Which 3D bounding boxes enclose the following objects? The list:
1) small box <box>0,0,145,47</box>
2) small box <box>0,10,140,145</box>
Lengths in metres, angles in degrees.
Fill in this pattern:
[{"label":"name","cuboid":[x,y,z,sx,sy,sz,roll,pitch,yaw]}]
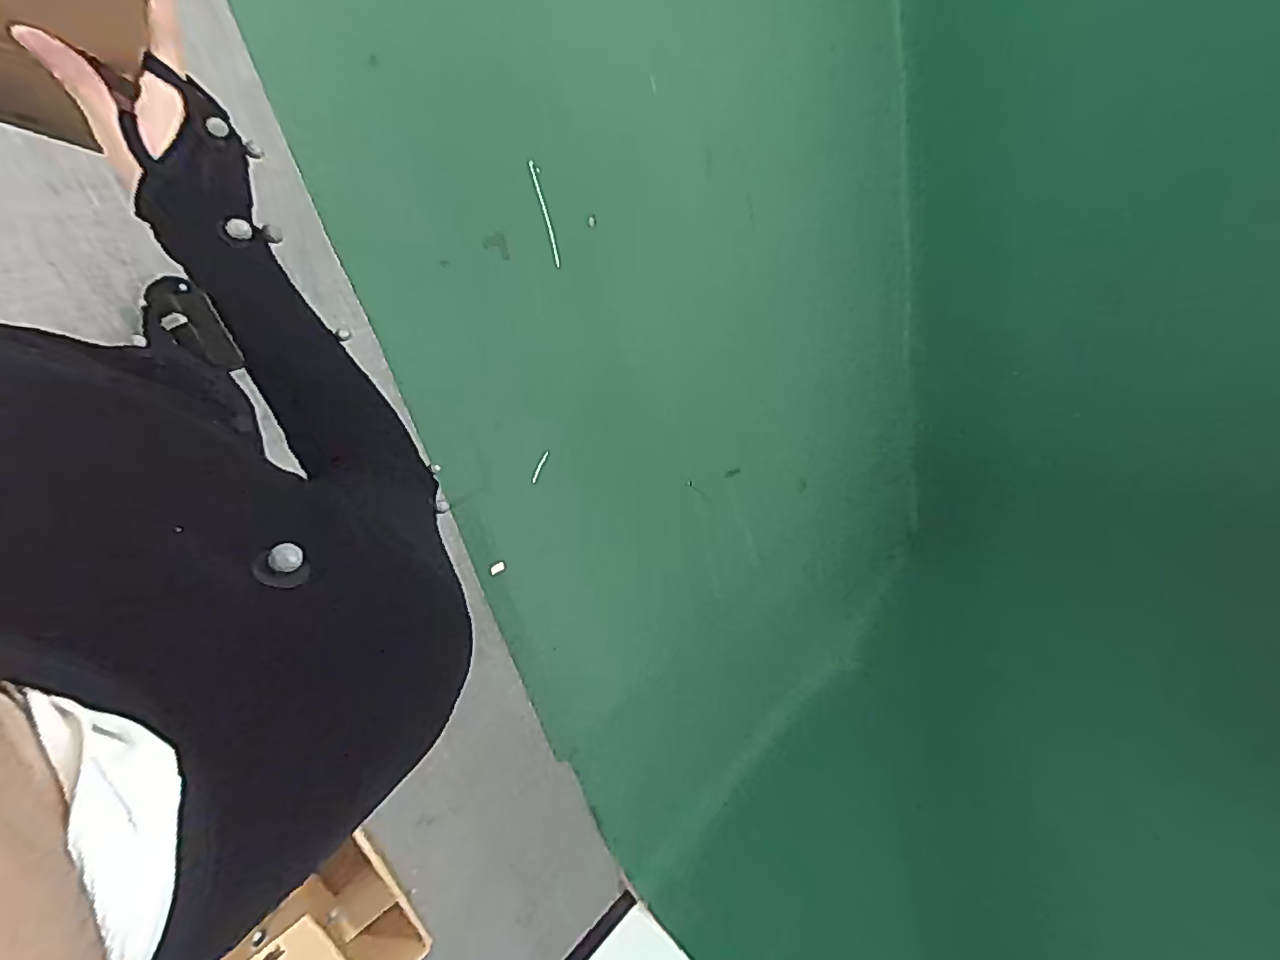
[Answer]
[{"label":"small box","cuboid":[-0.348,-0.360,0.253,0.179,0.176,0.168,0,96,-45]},{"label":"small box","cuboid":[-0.460,-0.378,0.373,0.168,0.176,0.179,0,95,-45]}]
